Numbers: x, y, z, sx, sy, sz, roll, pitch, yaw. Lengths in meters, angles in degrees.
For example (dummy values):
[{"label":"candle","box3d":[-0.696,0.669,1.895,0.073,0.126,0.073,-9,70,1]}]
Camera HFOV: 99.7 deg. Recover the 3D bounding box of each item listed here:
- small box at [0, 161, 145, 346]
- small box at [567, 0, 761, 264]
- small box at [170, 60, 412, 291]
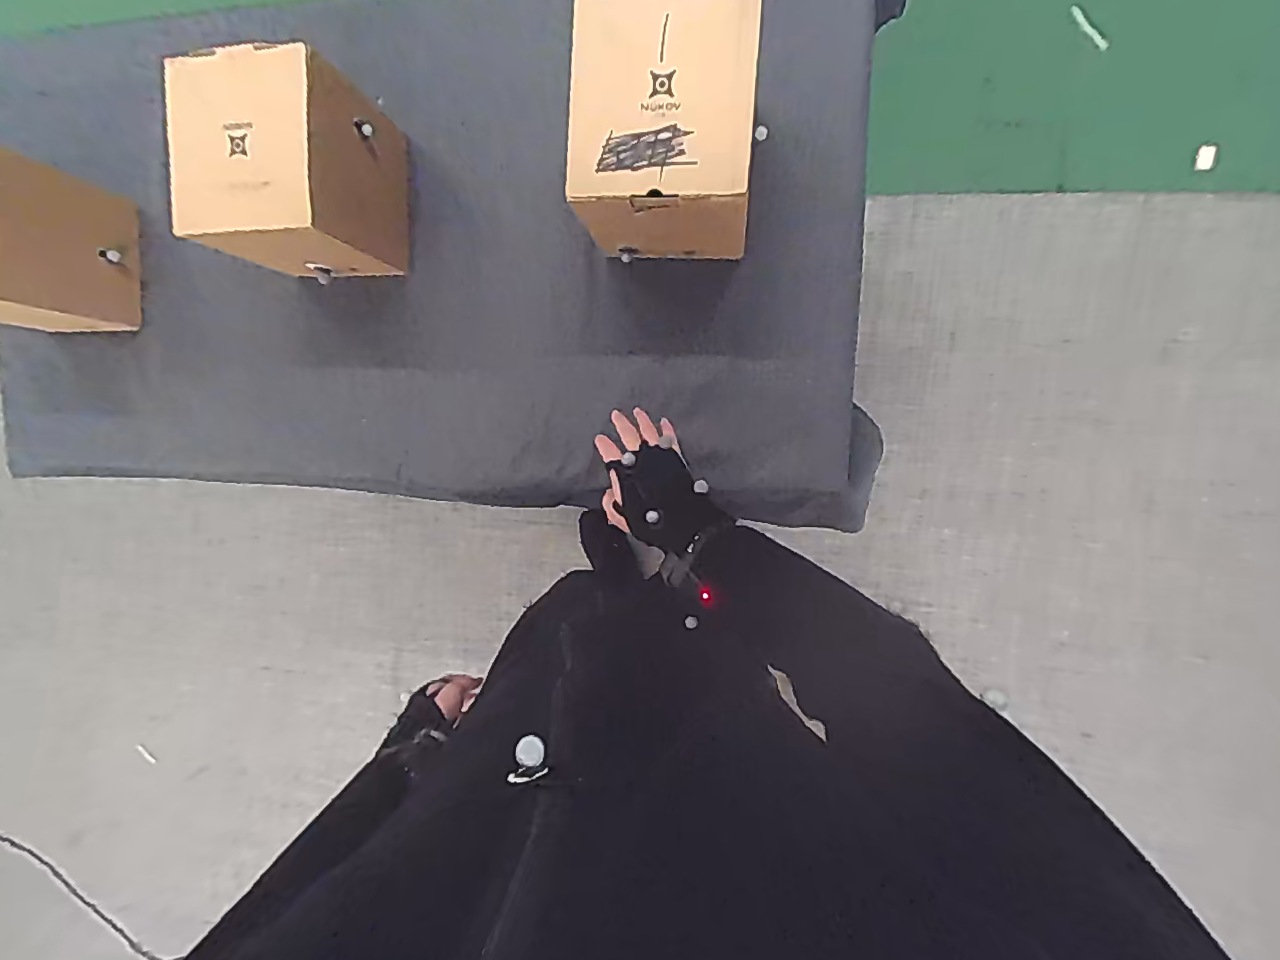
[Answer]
[{"label":"small box","box3d":[-0.783,-0.275,0.687,0.168,0.176,0.179,1,93,9]},{"label":"small box","box3d":[0.031,-0.331,0.552,0.168,0.176,0.179,4,94,9]},{"label":"small box","box3d":[-0.384,-0.330,0.622,0.168,0.176,0.179,1,96,10]}]
